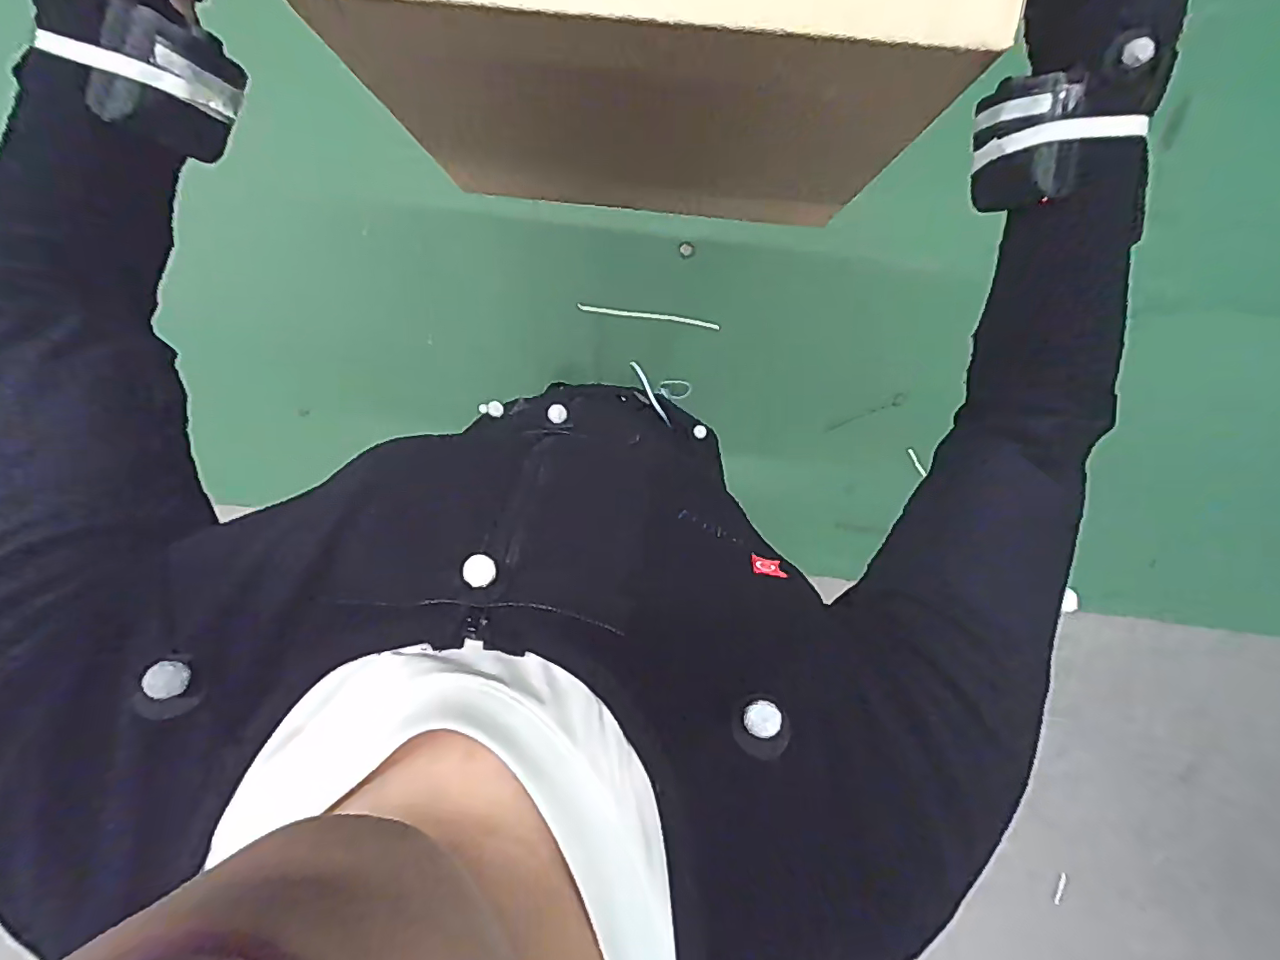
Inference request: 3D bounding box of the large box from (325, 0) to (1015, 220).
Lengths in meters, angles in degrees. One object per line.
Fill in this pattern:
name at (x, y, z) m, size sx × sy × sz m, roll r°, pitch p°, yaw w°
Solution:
large box at (0.020, -0.428, 0.429) m, size 0.408 × 0.320 × 0.320 m, roll 5°, pitch 99°, yaw -1°
